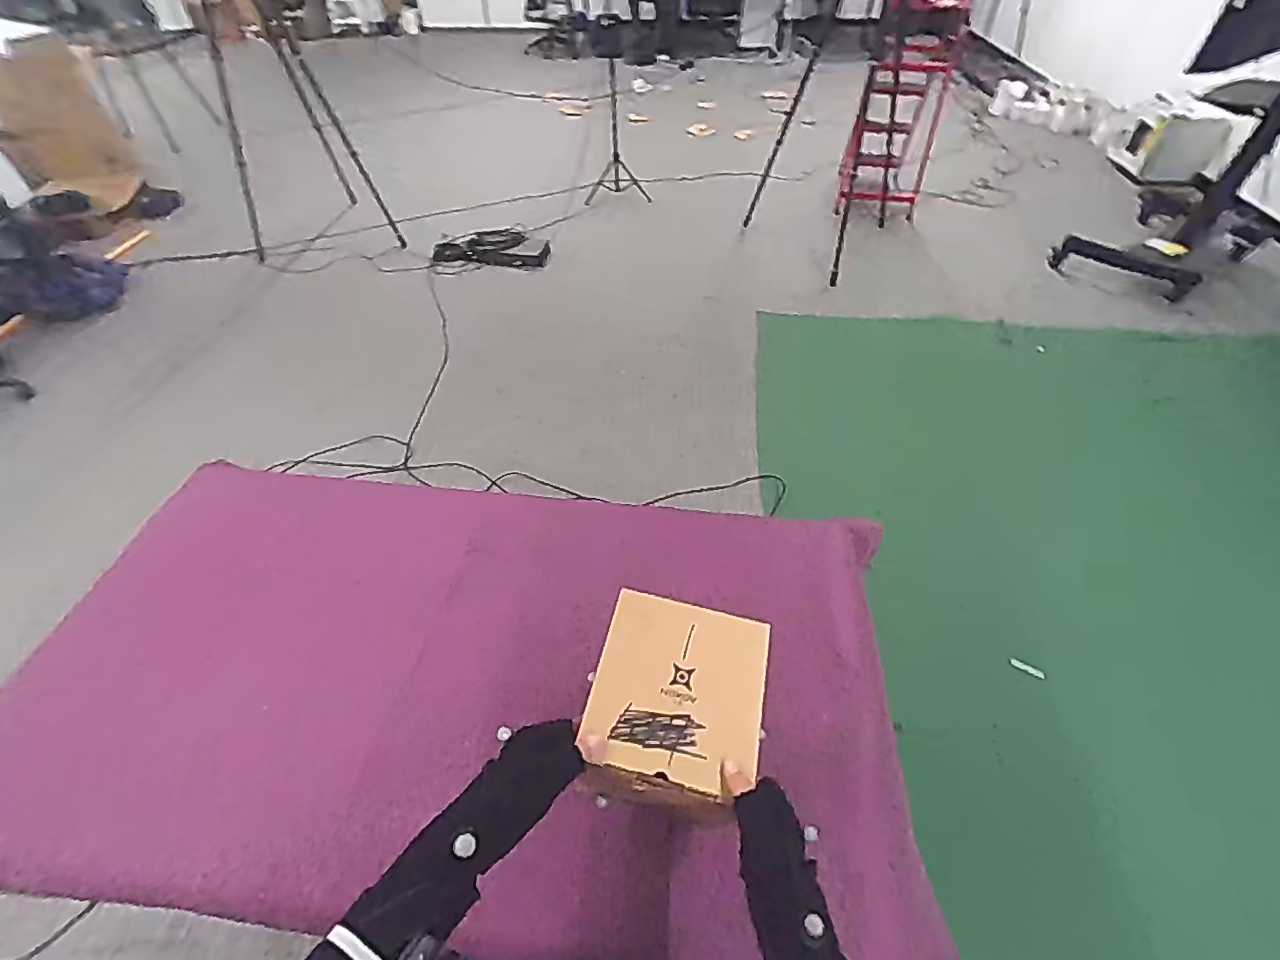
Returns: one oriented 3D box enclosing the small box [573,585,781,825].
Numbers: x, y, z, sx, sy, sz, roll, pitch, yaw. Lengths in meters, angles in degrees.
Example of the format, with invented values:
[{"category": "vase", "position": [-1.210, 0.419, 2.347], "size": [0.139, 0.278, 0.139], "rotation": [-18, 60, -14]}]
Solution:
[{"category": "small box", "position": [0.038, 0.246, 0.581], "size": [0.168, 0.176, 0.179], "rotation": [17, 54, 6]}]
